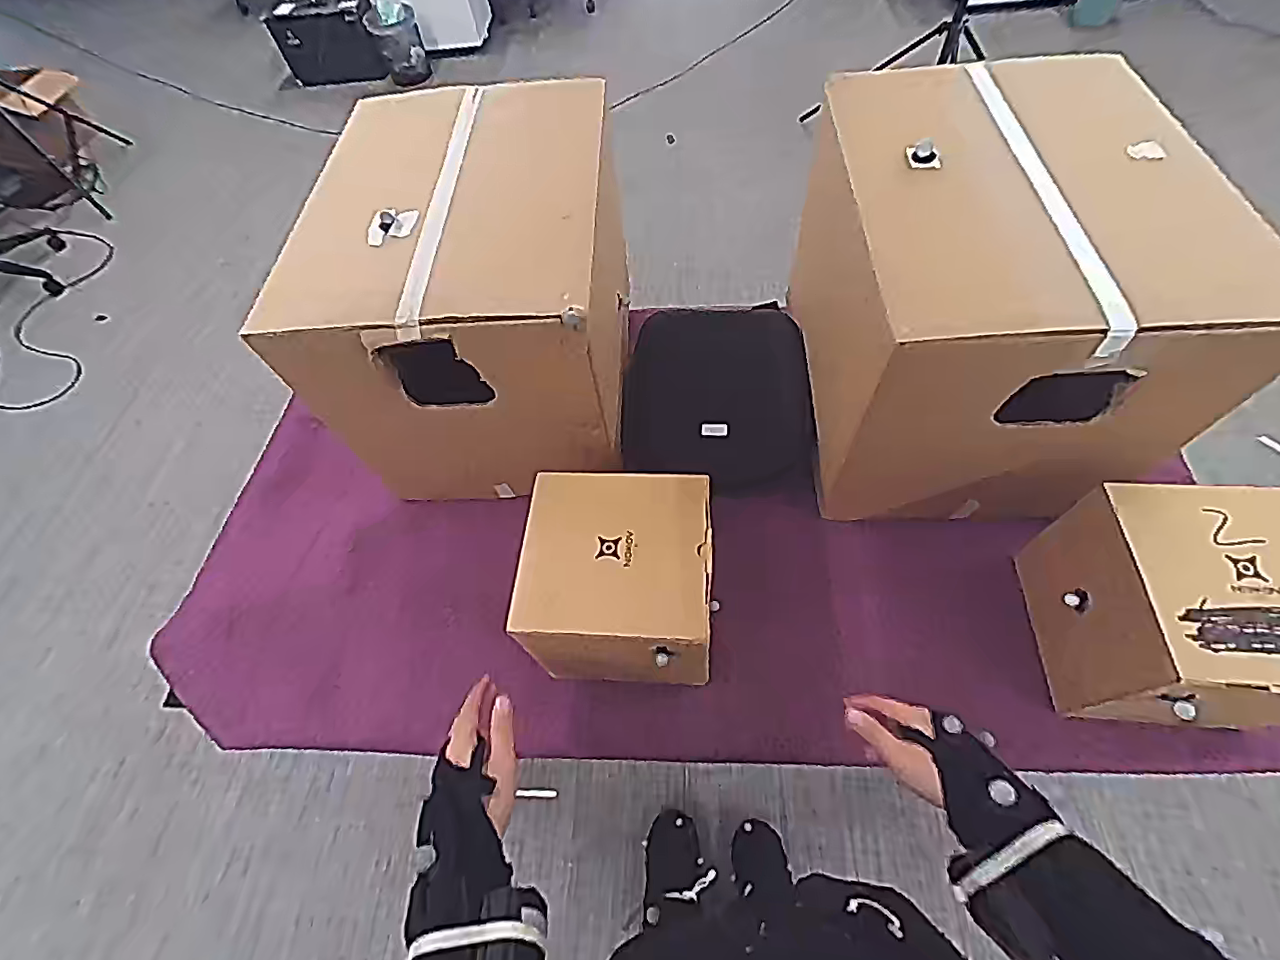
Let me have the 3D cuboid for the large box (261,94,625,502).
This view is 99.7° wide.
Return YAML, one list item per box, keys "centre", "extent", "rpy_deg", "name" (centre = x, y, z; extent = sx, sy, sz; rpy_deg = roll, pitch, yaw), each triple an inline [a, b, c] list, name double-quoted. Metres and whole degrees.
- centre: [-0.185, -0.220, 0.701]
  extent: [0.320, 0.320, 0.408]
  rpy_deg: [-3, 61, 4]
  name: "large box"

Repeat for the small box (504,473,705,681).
- centre: [-0.021, 0.107, 0.568]
  extent: [0.179, 0.176, 0.168]
  rpy_deg: [1, 57, 5]
  name: "small box"
